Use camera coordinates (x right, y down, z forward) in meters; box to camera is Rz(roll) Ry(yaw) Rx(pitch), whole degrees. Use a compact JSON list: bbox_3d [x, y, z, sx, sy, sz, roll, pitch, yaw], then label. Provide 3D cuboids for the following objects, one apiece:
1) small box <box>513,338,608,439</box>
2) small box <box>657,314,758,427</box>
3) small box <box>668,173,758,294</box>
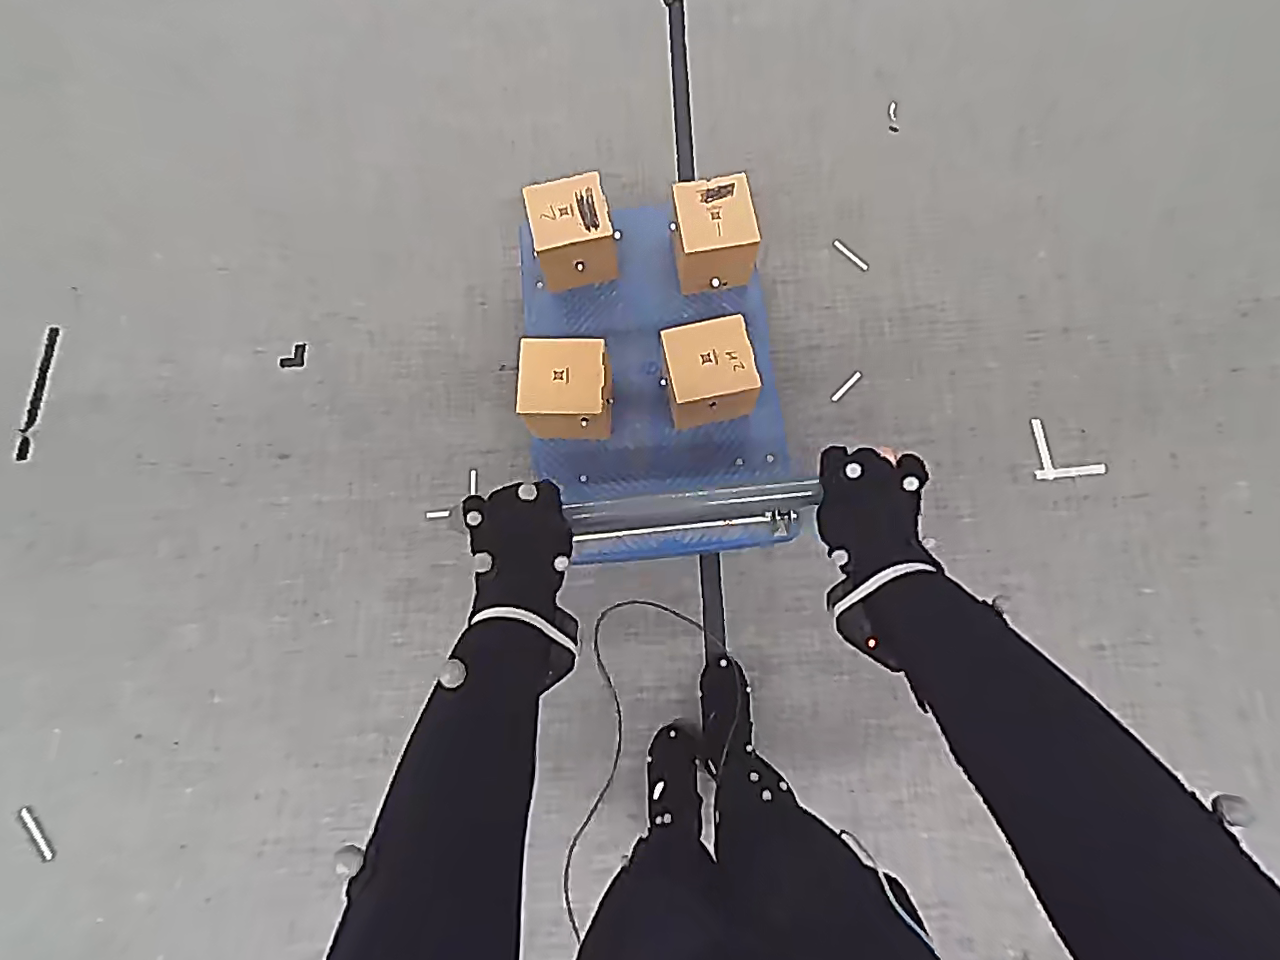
[{"bbox_3d":[-0.164,-0.190,1.165,0.179,0.176,0.168,0,77,0],"label":"small box"},{"bbox_3d":[0.139,-0.226,1.160,0.179,0.176,0.168,-12,77,0],"label":"small box"},{"bbox_3d":[0.158,-0.556,1.234,0.168,0.176,0.179,-9,78,0],"label":"small box"}]
